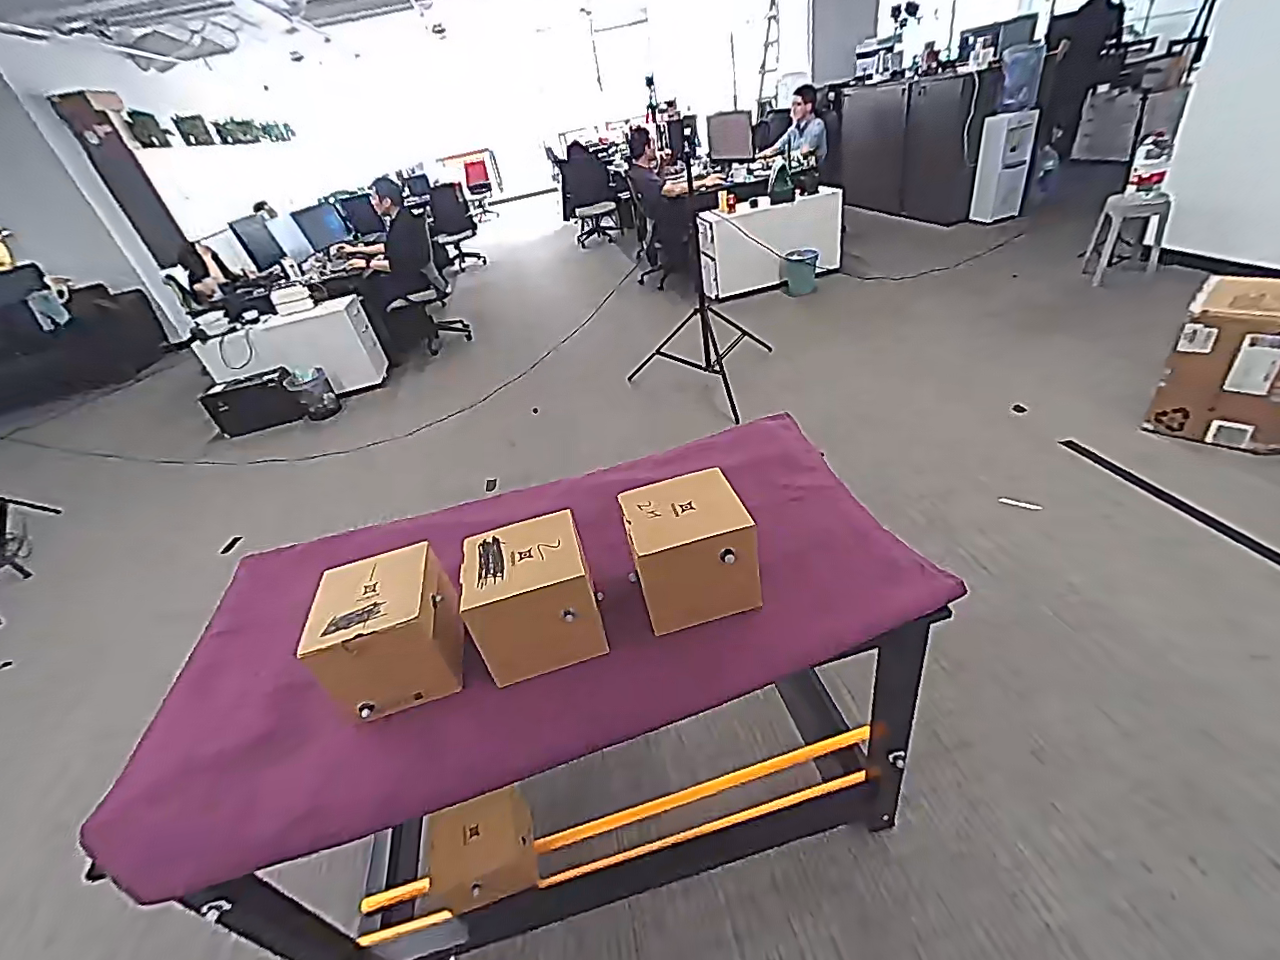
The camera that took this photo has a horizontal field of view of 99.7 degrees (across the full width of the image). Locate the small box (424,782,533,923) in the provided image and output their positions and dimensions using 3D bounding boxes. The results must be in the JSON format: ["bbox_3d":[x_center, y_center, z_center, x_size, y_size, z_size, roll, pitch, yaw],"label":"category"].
[{"bbox_3d":[-0.332,0.778,1.129,0.179,0.176,0.168,-18,37,-9],"label":"small box"}]
